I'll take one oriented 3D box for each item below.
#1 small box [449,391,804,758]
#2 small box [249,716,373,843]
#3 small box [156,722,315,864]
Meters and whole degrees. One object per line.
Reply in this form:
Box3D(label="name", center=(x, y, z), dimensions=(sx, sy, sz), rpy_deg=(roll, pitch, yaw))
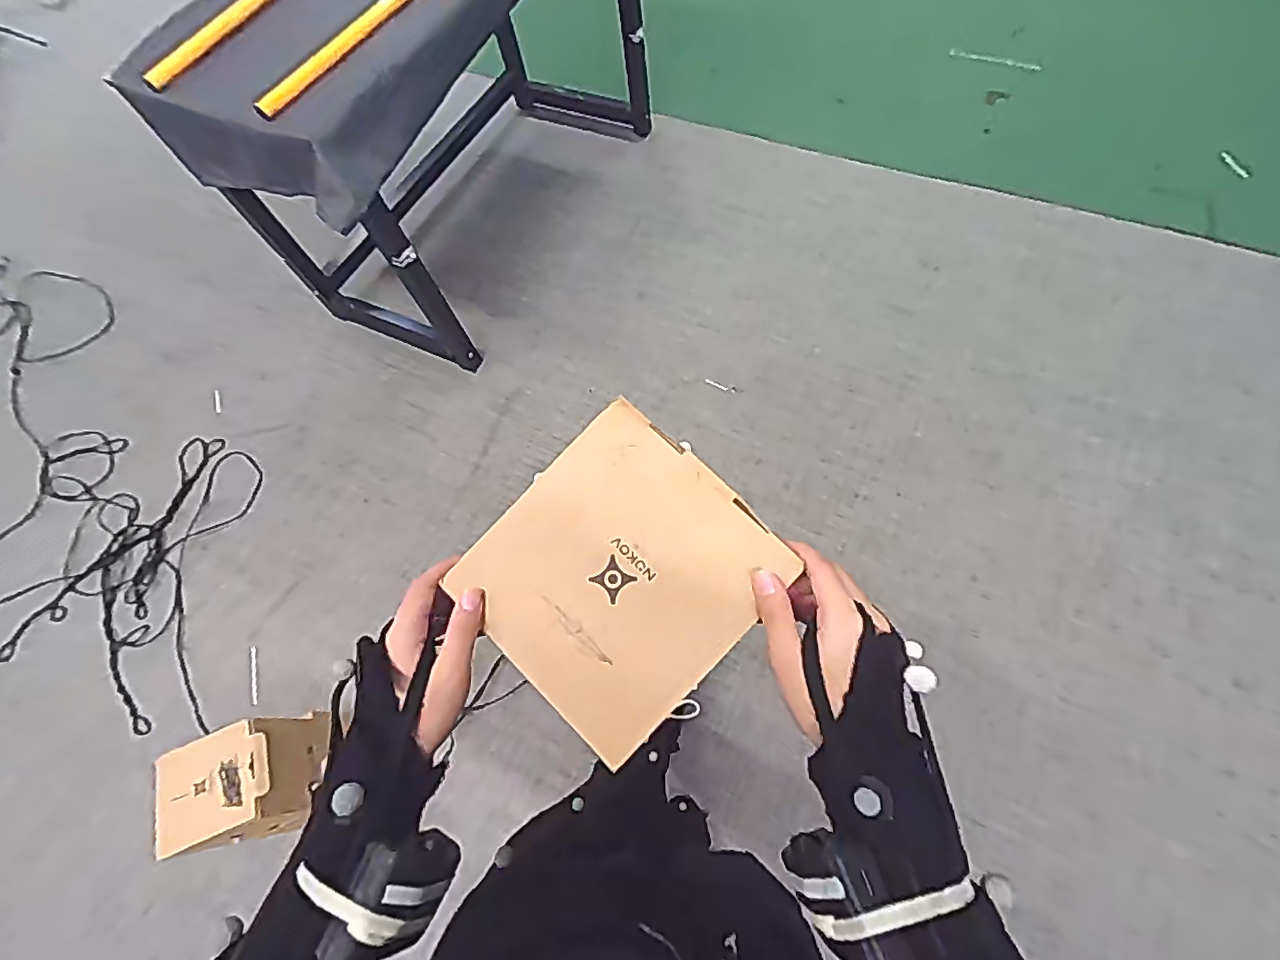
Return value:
Box3D(label="small box", center=(-0.004, 0.066, 0.424), dimensions=(0.168, 0.176, 0.179), rpy_deg=(42, 89, 11))
Box3D(label="small box", center=(-0.694, 0.614, 1.133), dimensions=(0.168, 0.176, 0.179), rpy_deg=(-27, 65, -6))
Box3D(label="small box", center=(-0.720, 0.554, 0.981), dimensions=(0.179, 0.176, 0.168), rpy_deg=(-23, 64, -3))
